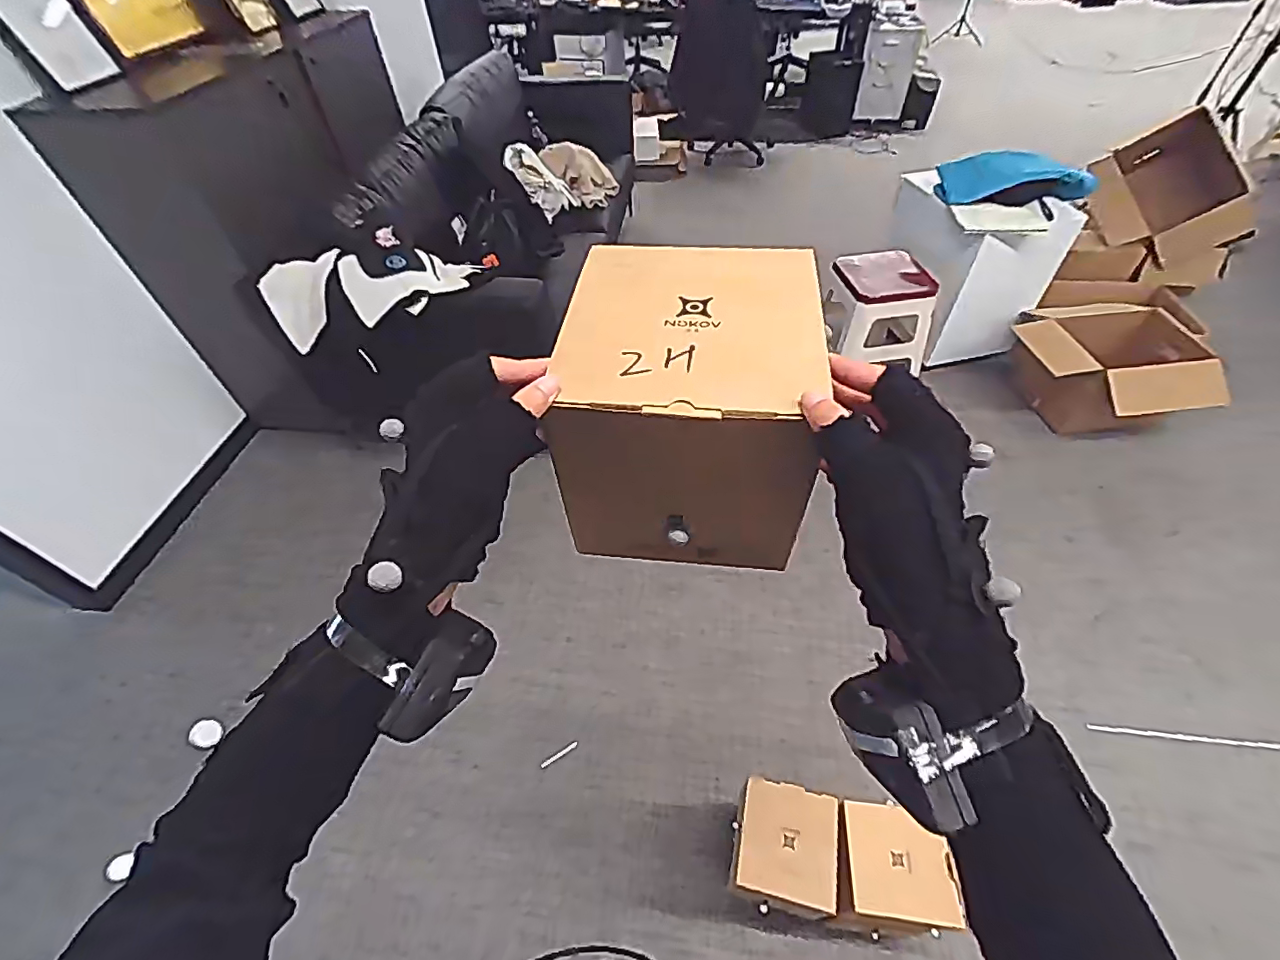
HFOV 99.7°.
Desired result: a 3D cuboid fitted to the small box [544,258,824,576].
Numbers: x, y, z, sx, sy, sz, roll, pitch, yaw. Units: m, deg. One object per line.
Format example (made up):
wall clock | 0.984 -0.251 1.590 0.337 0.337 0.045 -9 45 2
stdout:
small box | 0.037 -0.049 0.422 0.168 0.176 0.179 4 51 7
